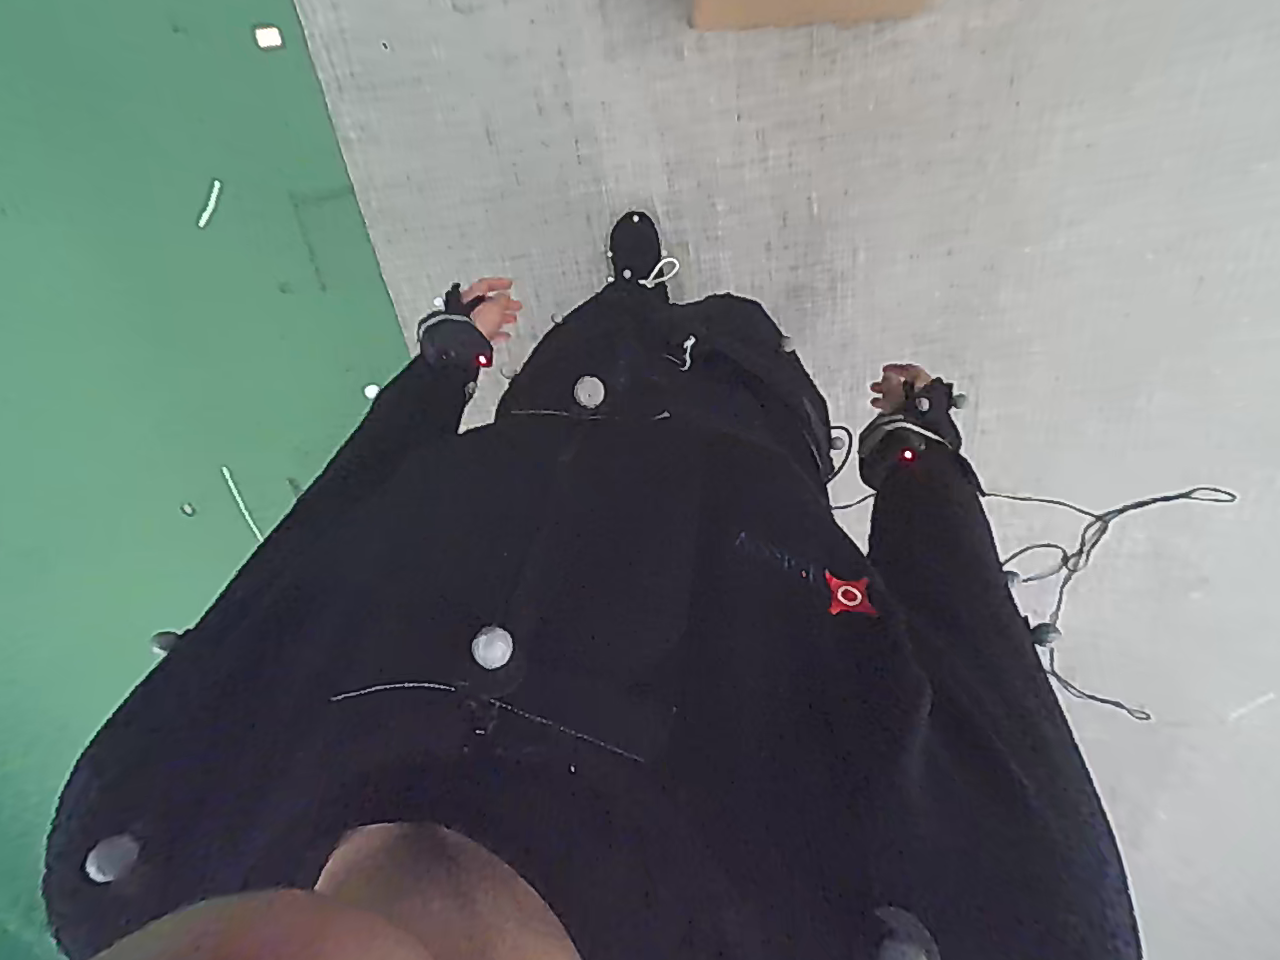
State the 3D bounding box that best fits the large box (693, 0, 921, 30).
[{"bbox_3d":[0.279,-0.916,0.795,0.408,0.320,0.320,-1,117,4],"label":"large box"}]
